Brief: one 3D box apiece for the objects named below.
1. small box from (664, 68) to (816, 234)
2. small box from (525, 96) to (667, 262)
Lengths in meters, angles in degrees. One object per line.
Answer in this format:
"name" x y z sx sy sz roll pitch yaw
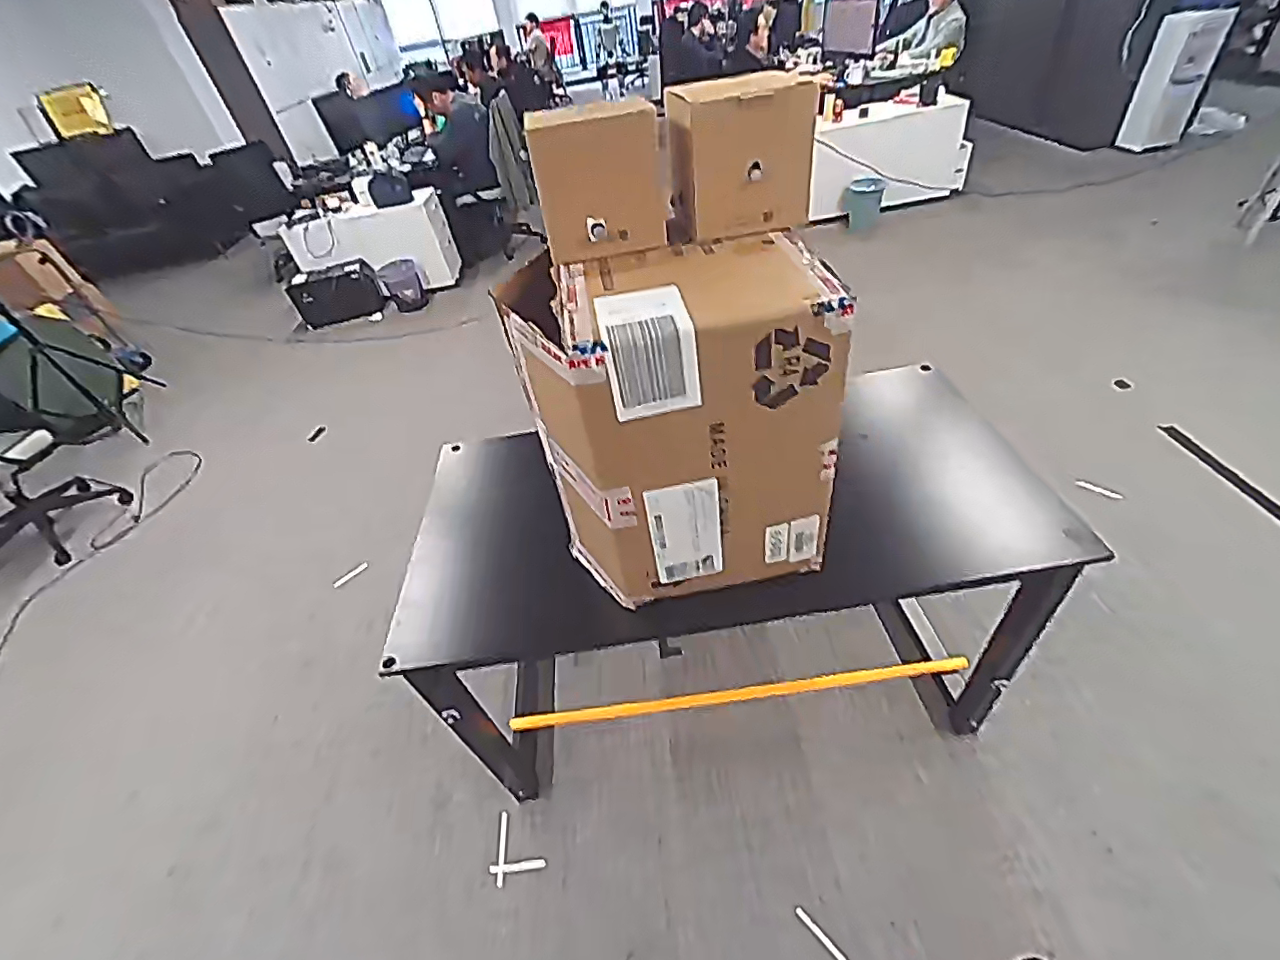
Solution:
"small box" 0.134 -0.464 0.773 0.168 0.176 0.179 -10 42 -3
"small box" -0.063 -0.430 0.774 0.168 0.176 0.179 -12 41 -3
